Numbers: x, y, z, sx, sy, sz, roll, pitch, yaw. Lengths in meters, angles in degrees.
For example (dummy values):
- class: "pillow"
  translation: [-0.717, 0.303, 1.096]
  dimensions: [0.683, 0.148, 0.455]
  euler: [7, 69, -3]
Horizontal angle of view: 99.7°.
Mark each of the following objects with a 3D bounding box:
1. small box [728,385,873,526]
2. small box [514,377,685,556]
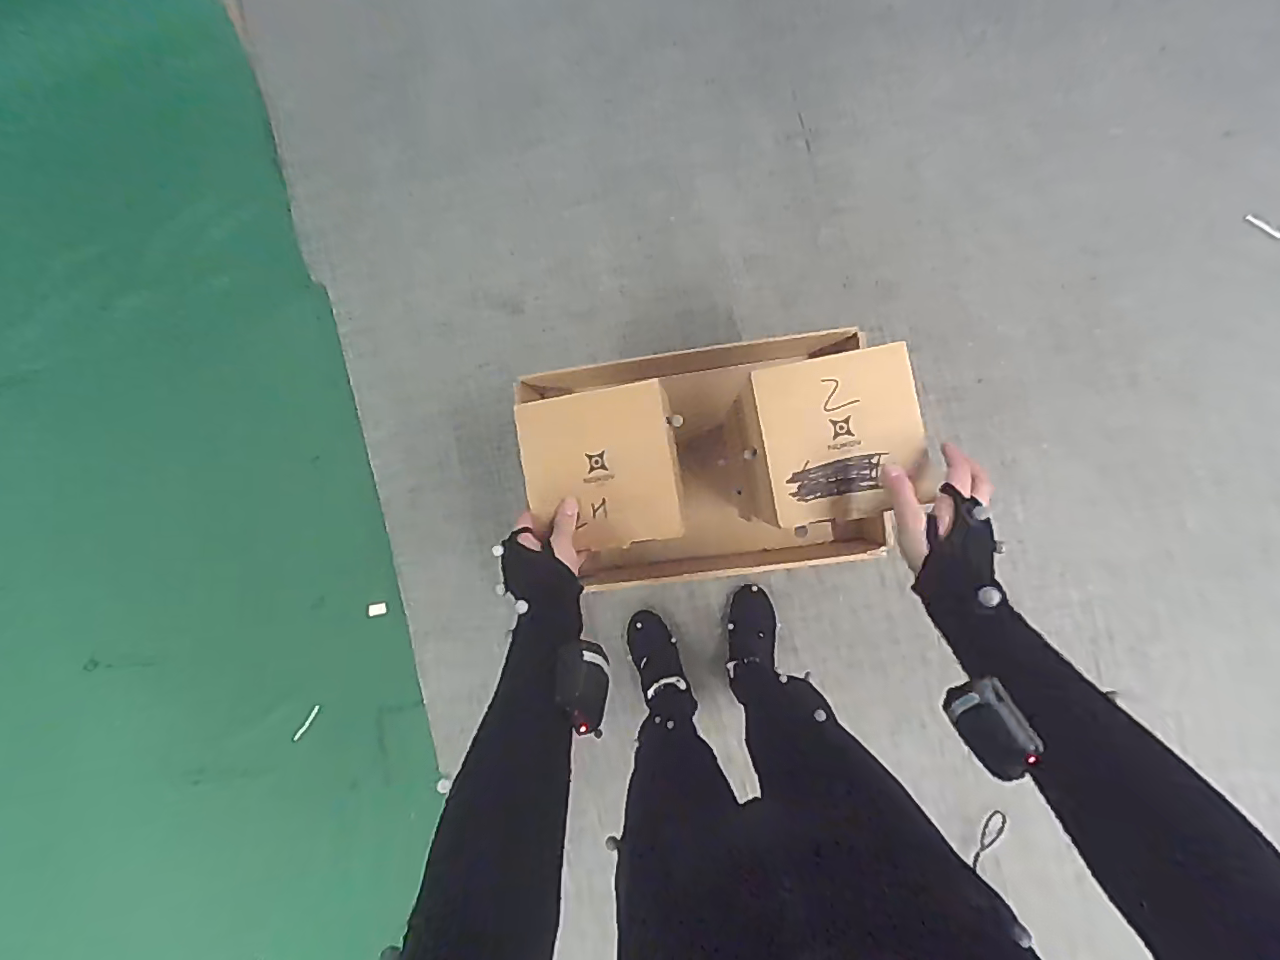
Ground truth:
- class: "small box"
  translation: [0.226, -0.032, 0.802]
  dimensions: [0.168, 0.176, 0.179]
  euler: [-7, 88, 5]
- class: "small box"
  translation: [-0.039, -0.013, 0.661]
  dimensions: [0.168, 0.176, 0.179]
  euler: [-9, 90, 7]
